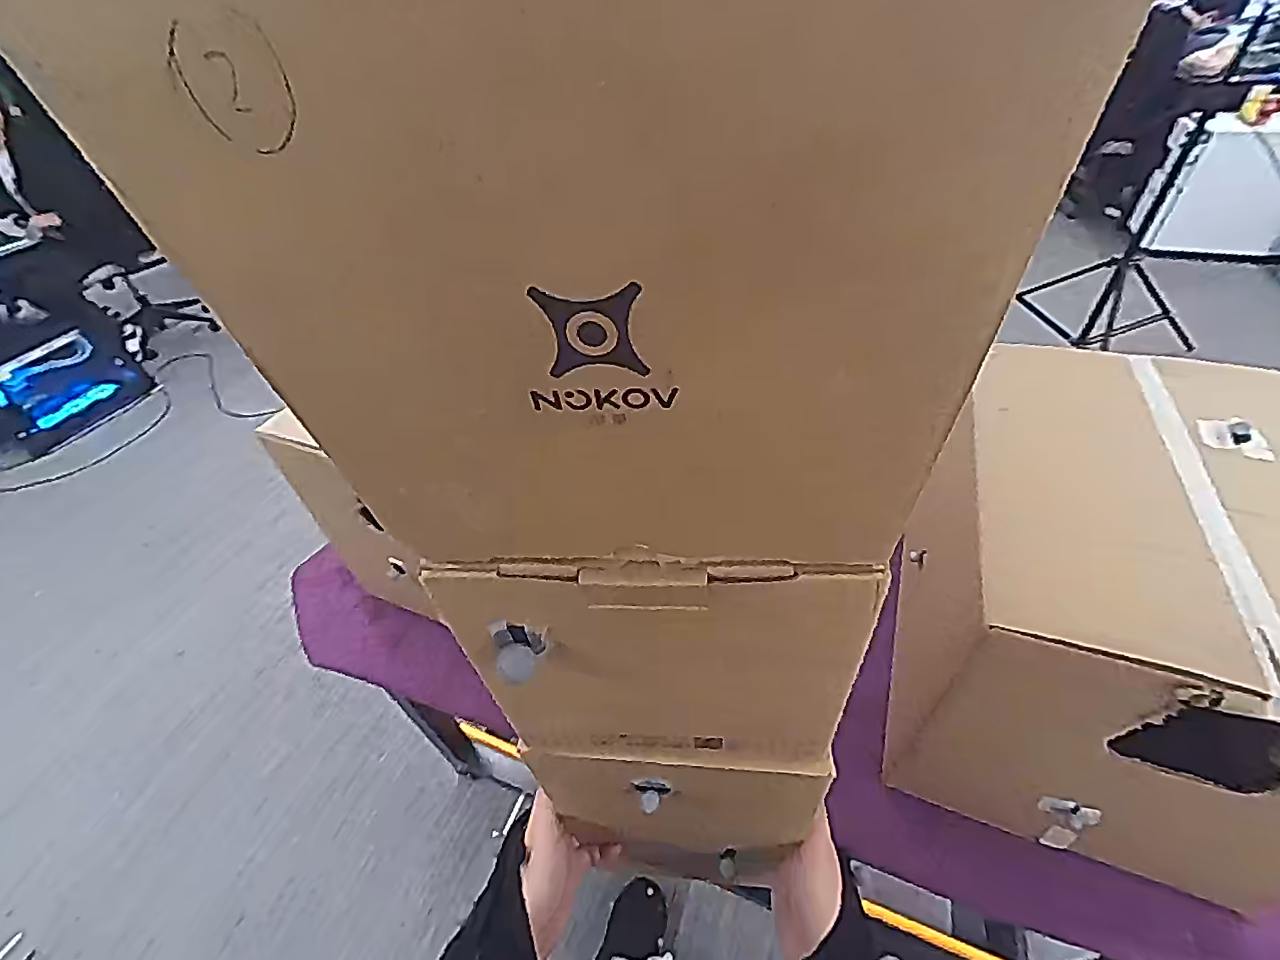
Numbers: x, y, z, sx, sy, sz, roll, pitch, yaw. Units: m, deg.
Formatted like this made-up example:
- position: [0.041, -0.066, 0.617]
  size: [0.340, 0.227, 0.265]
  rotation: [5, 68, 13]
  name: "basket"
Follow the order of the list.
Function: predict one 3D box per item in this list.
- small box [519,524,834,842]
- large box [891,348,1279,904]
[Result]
- position: [0.032, 0.150, 0.403]
  size: [0.179, 0.176, 0.168]
  rotation: [1, 44, 7]
  name: "small box"
- position: [0.458, 0.111, 0.552]
  size: [0.320, 0.320, 0.408]
  rotation: [13, 45, 18]
  name: "large box"
